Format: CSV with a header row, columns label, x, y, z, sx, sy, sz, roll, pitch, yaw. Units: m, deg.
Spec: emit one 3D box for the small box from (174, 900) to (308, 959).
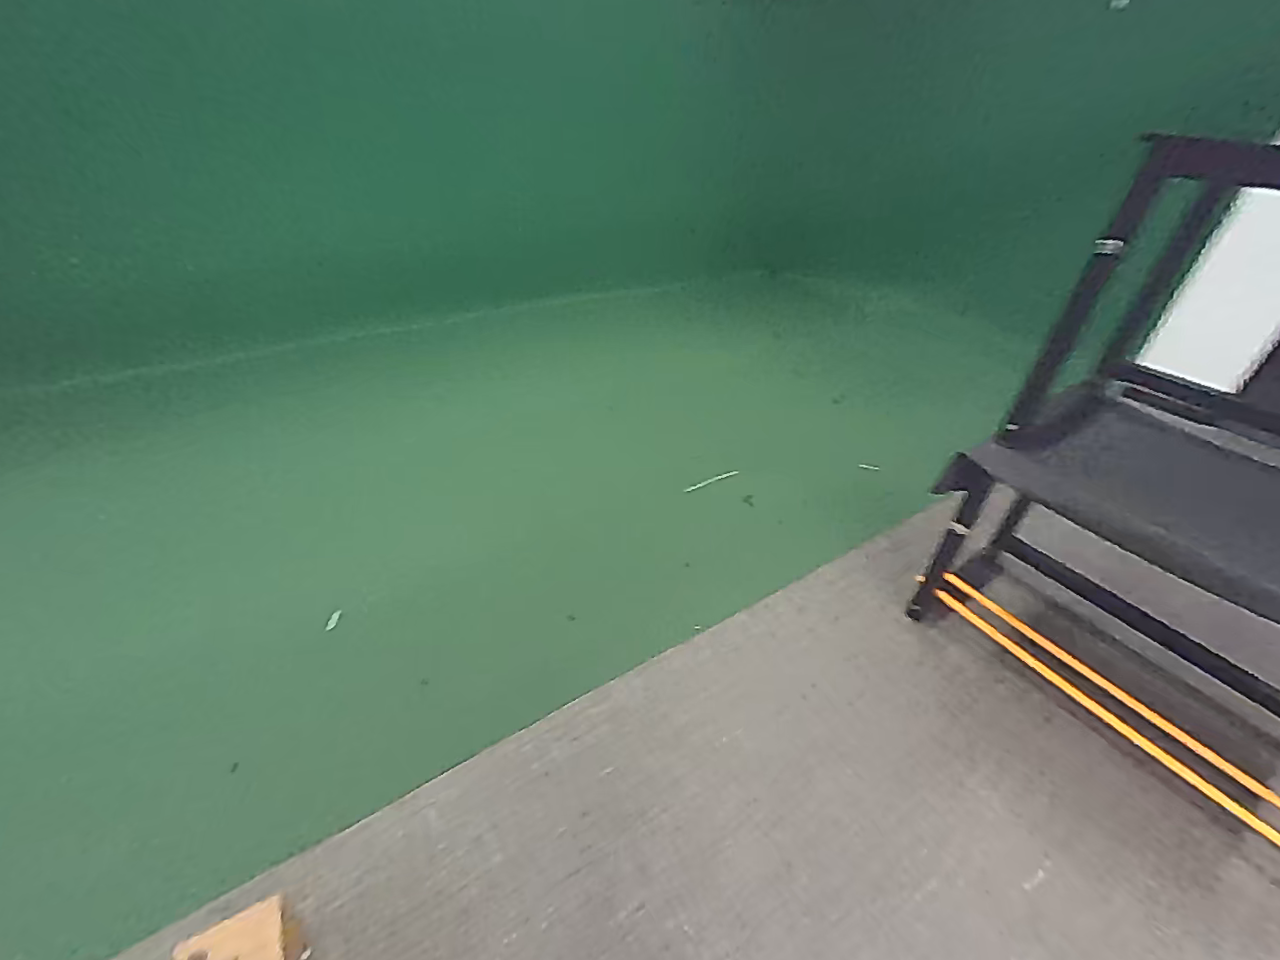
label,x,y,z,sx,sy,sz,roll,pitch,yaw
small box,-0.762,0.973,1.041,0.179,0.176,0.168,-16,40,-26
